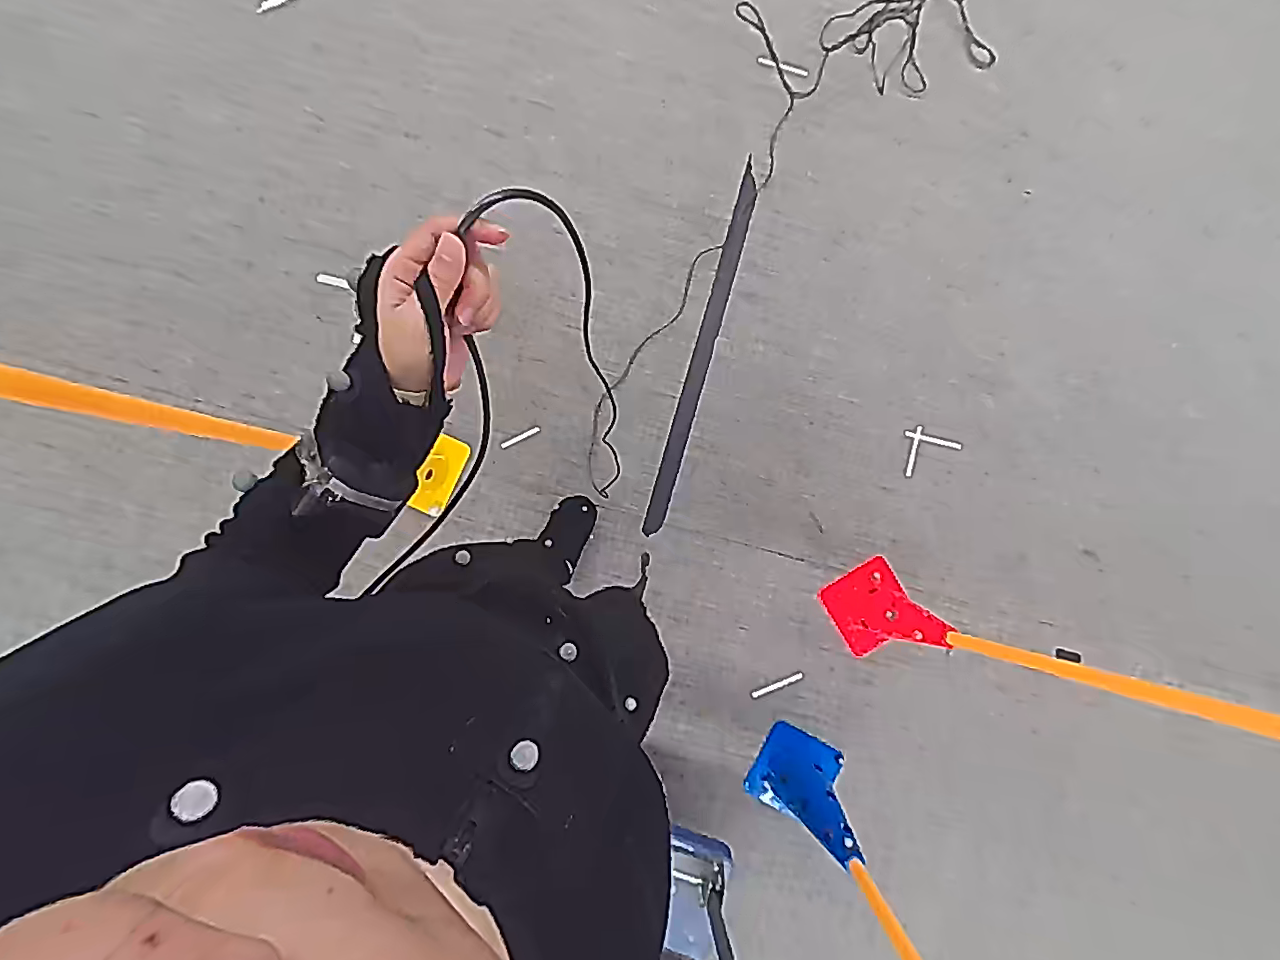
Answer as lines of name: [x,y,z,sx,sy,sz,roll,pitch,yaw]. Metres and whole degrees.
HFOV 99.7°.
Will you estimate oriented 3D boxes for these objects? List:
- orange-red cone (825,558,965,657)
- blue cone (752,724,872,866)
orange-red cone: [0.588,0.310,1.186,0.199,0.360,0.198,-29,87,-2]
blue cone: [0.394,0.709,1.170,0.193,0.380,0.192,31,85,0]
